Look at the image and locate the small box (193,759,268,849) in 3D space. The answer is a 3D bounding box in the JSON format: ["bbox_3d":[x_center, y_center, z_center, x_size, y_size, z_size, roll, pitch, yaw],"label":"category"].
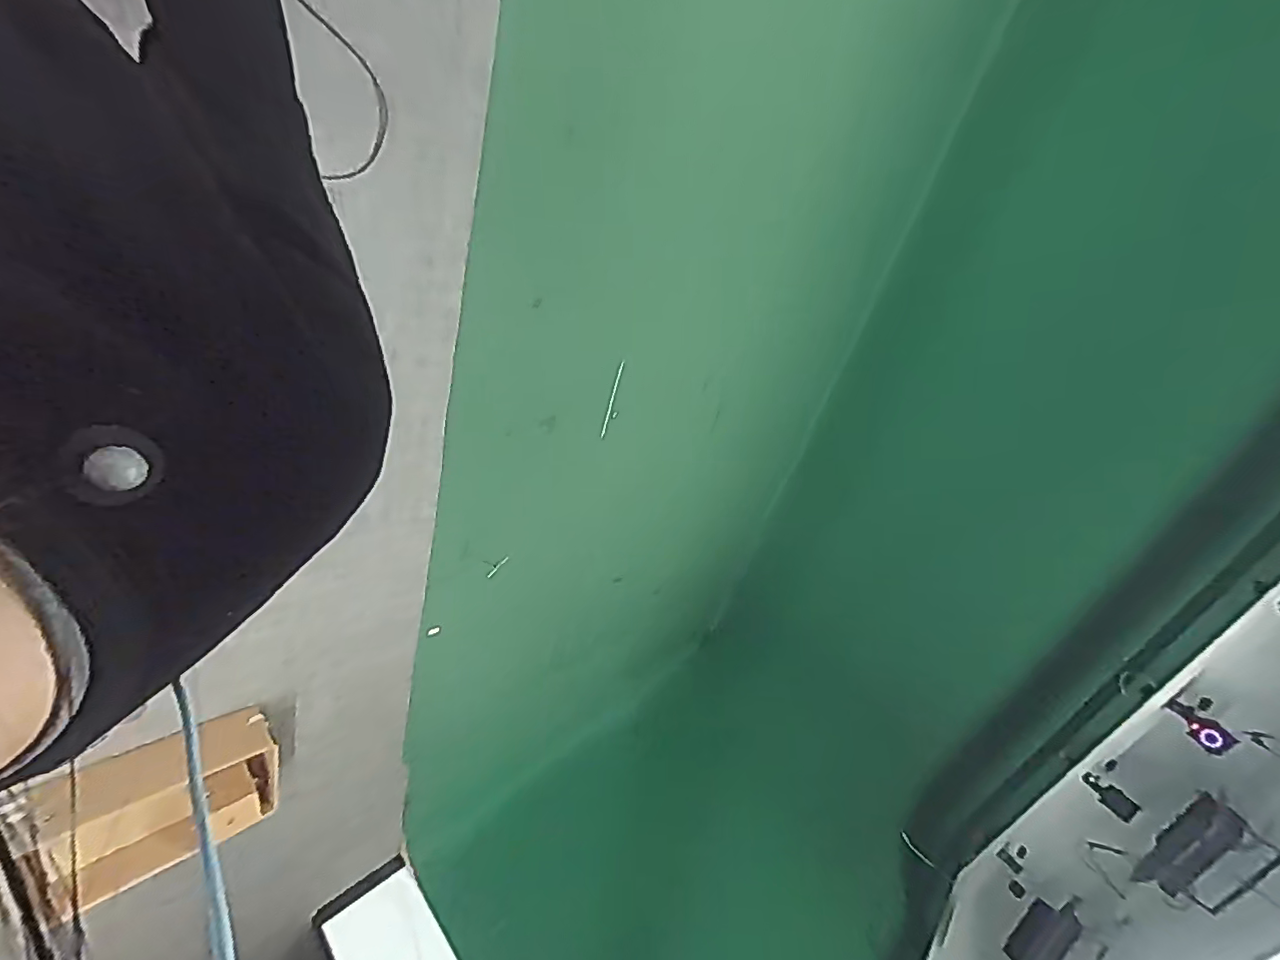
[{"bbox_3d":[-1.393,1.089,1.839,0.168,0.176,0.179,-15,131,-44],"label":"small box"}]
